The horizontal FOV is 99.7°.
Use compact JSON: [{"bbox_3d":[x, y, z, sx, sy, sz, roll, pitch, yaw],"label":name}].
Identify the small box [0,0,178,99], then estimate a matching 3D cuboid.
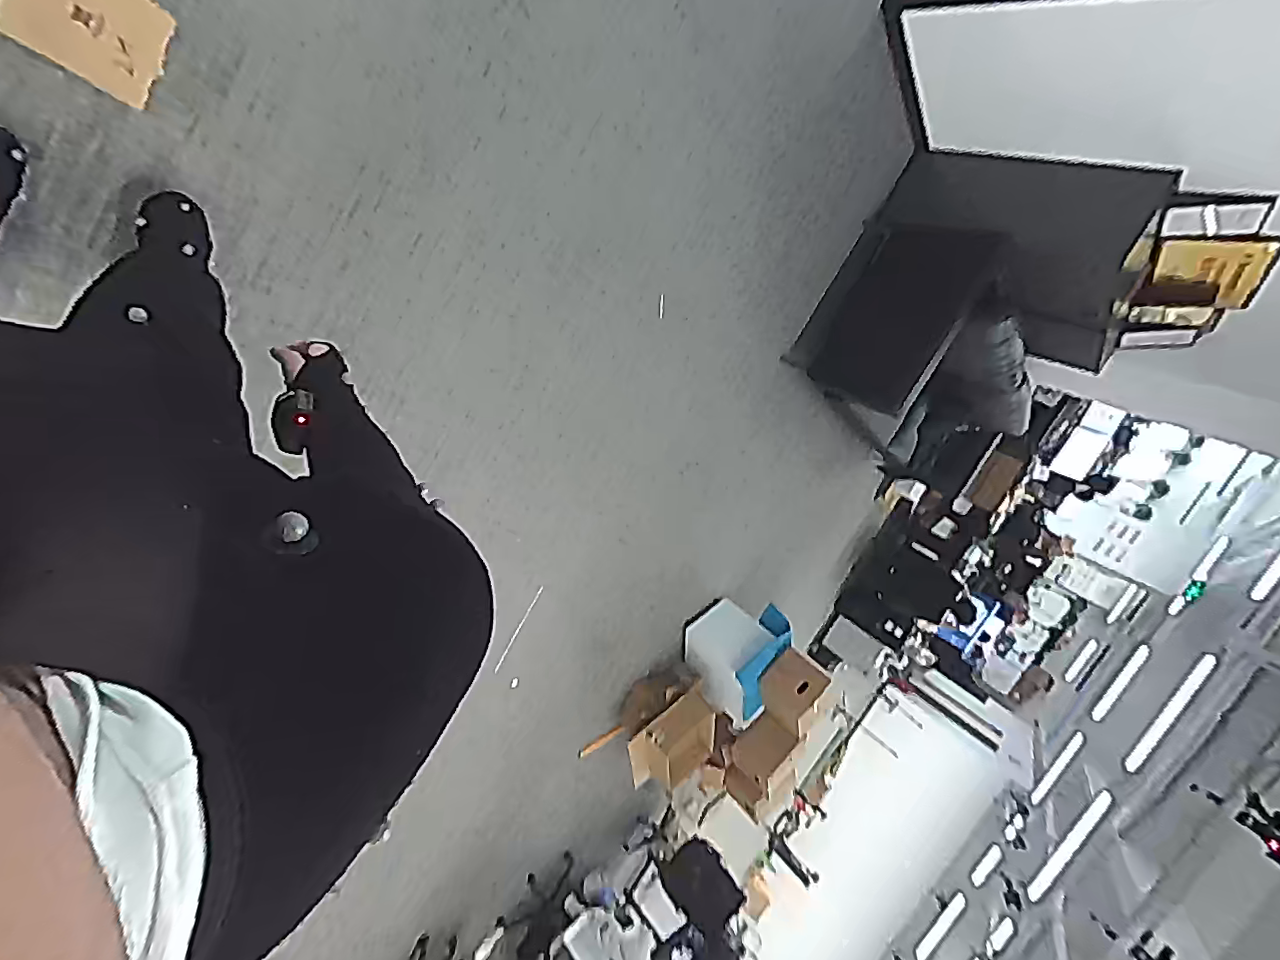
[{"bbox_3d":[-0.907,-0.766,0.887,0.179,0.176,0.168,20,102,-53],"label":"small box"}]
